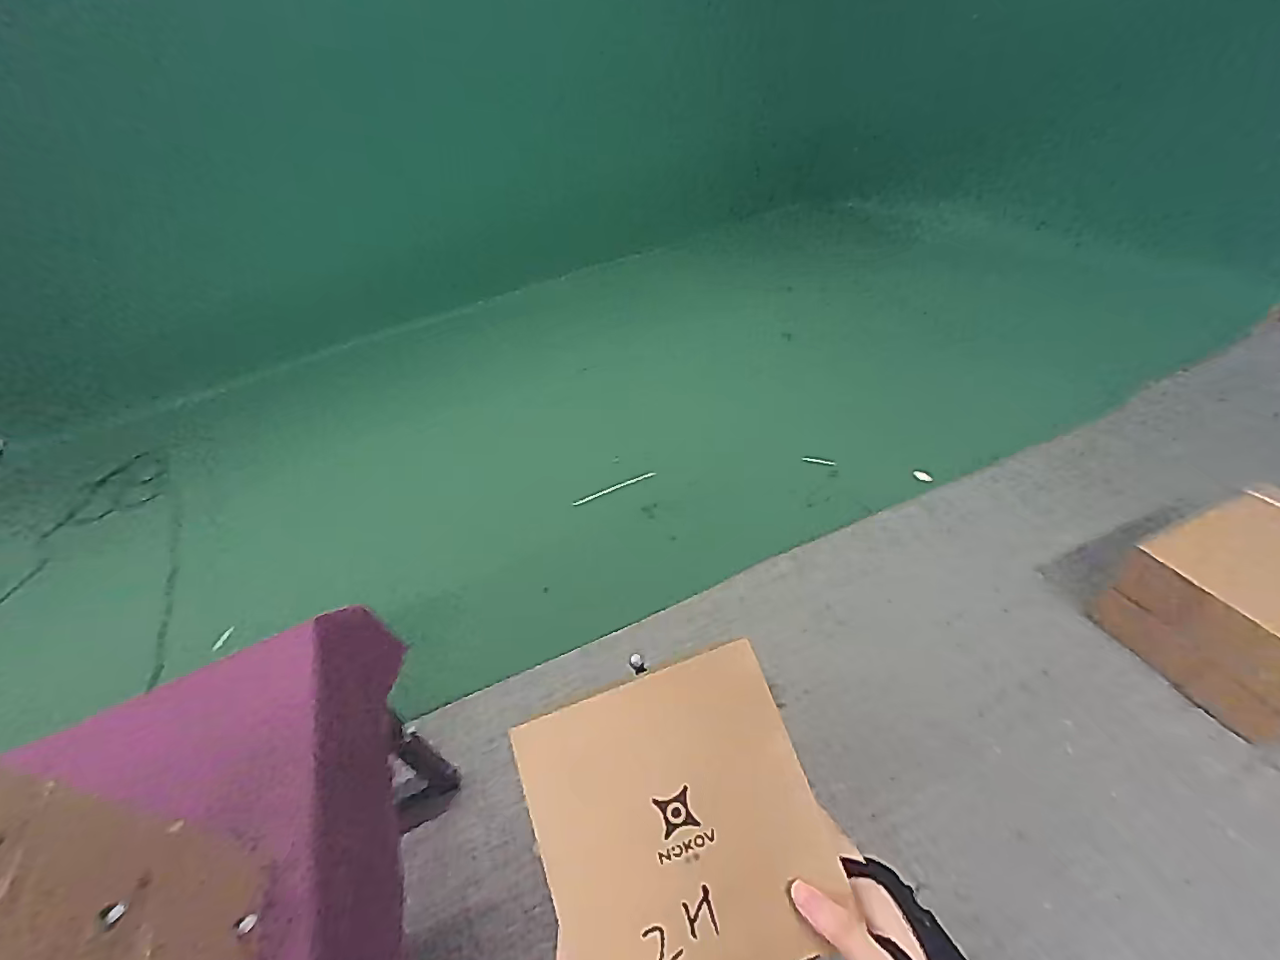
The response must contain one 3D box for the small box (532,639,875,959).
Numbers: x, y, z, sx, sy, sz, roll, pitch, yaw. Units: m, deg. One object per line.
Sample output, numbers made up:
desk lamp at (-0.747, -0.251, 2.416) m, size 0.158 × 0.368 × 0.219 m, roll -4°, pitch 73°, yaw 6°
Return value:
small box at (0.034, 0.233, 0.405) m, size 0.168 × 0.176 × 0.179 m, roll -19°, pitch 73°, yaw -4°
